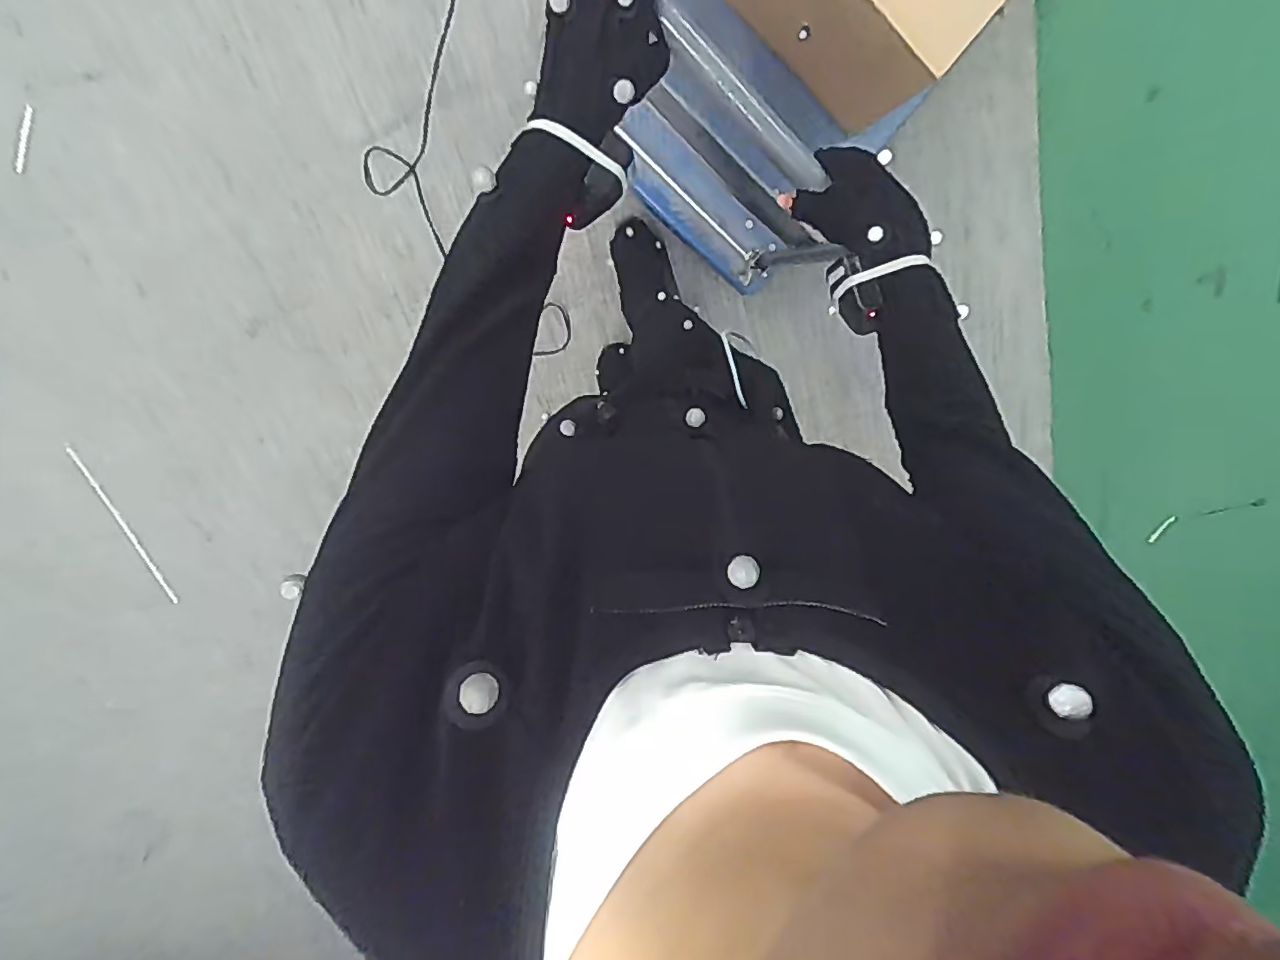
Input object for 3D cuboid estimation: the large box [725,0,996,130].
[{"bbox_3d":[0.382,-0.890,0.891,0.408,0.320,0.320,37,102,-14],"label":"large box"}]
